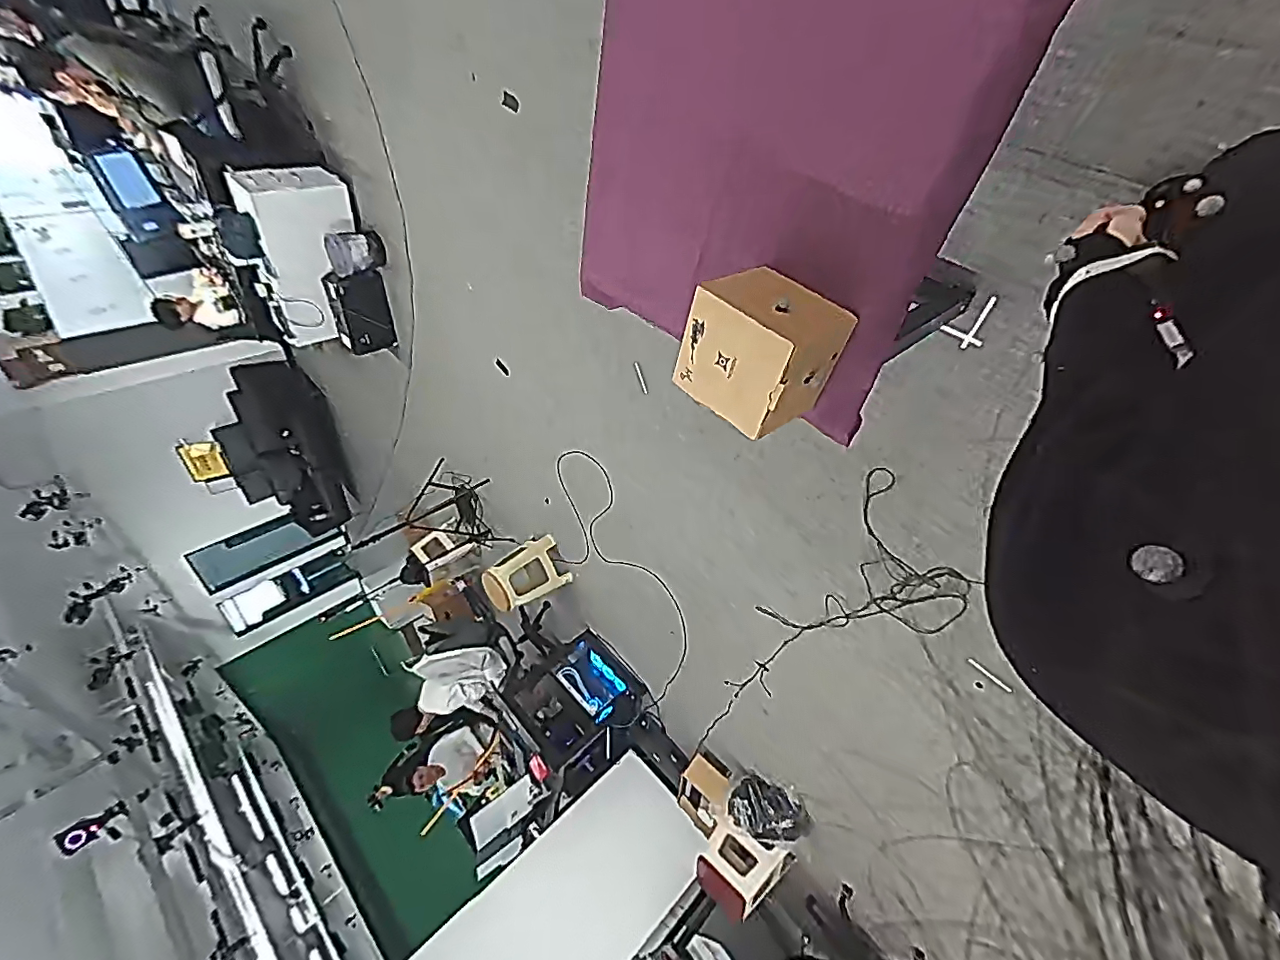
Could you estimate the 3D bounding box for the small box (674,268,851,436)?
[{"bbox_3d":[0.183,-0.202,0.819,0.179,0.176,0.168,41,140,25],"label":"small box"}]
